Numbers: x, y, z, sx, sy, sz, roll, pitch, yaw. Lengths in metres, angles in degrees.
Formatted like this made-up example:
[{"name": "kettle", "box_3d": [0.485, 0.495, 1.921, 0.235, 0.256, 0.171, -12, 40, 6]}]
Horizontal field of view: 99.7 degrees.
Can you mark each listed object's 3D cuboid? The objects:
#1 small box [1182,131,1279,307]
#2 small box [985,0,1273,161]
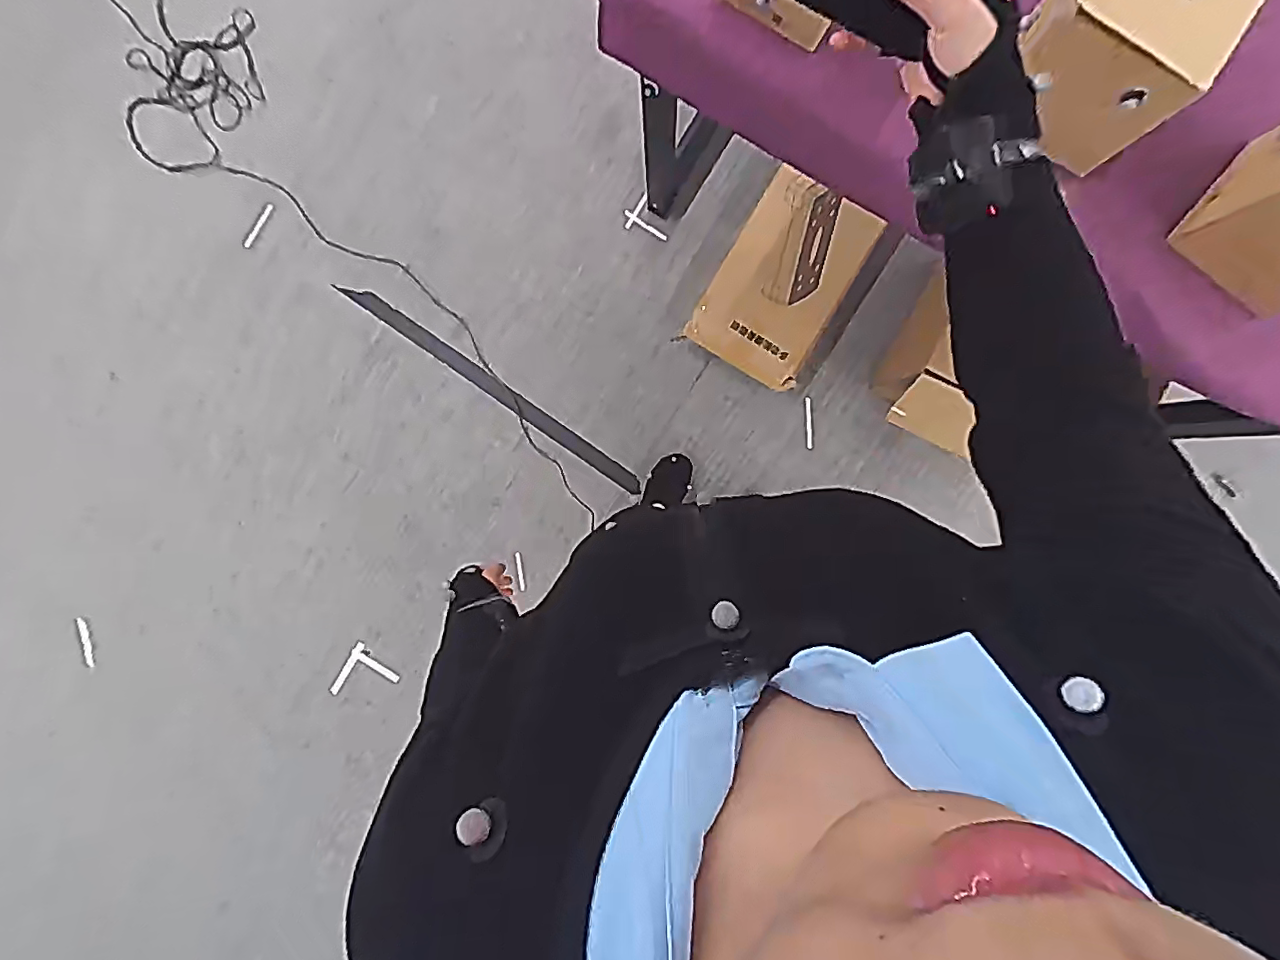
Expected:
[{"name": "small box", "box_3d": [0.823, -0.332, 0.636, 0.179, 0.176, 0.168, 39, 93, 0]}, {"name": "small box", "box_3d": [0.566, -0.519, 0.637, 0.179, 0.176, 0.168, 32, 91, 1]}]
